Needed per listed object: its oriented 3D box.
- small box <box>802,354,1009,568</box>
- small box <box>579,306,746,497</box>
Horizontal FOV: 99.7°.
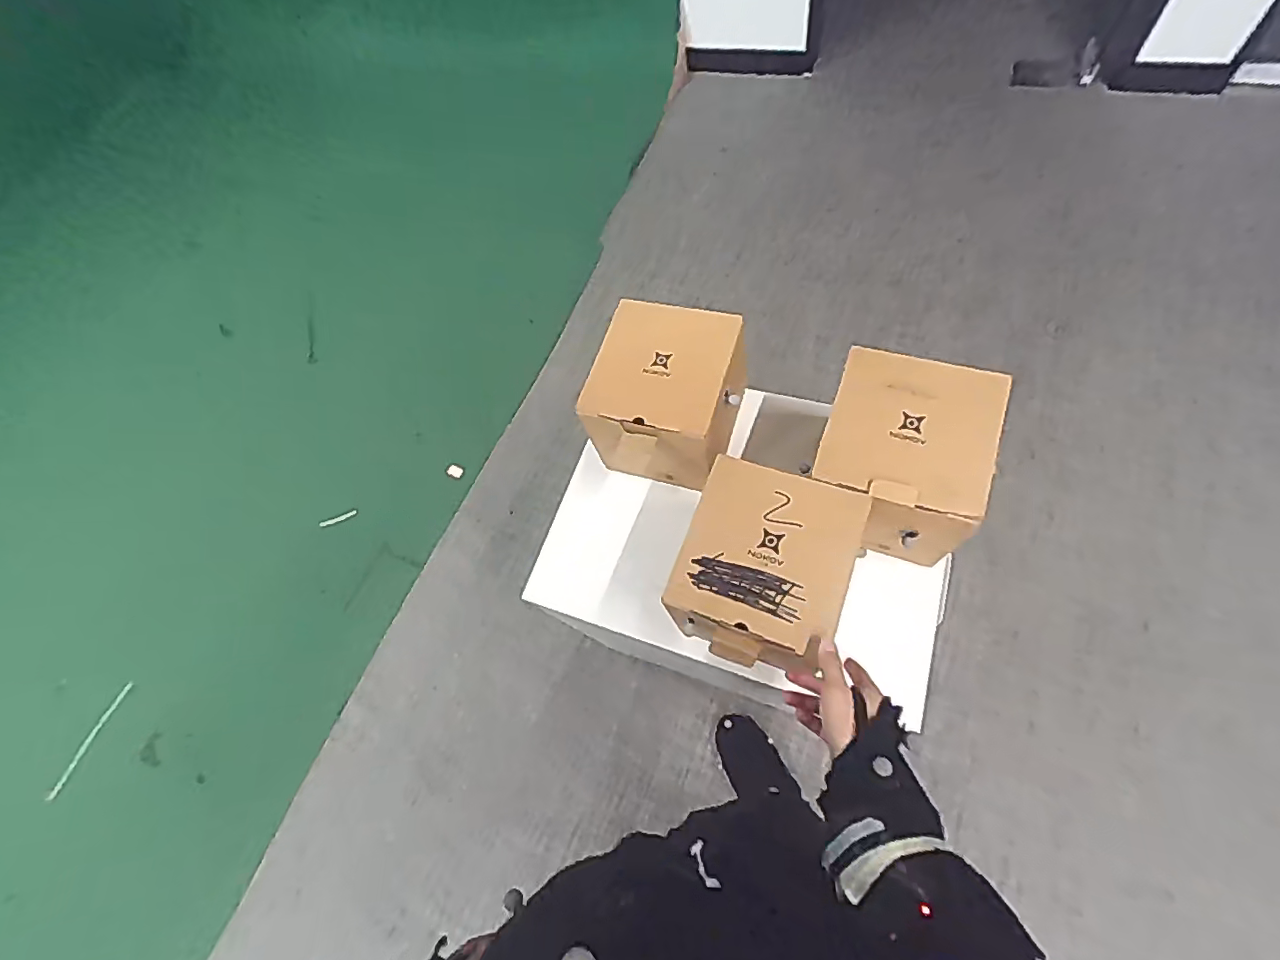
[{"bbox_3d":[0.296,-0.015,0.635,0.168,0.176,0.179,17,70,17],"label":"small box"},{"bbox_3d":[0.040,-0.100,0.728,0.168,0.176,0.179,14,71,16],"label":"small box"}]
